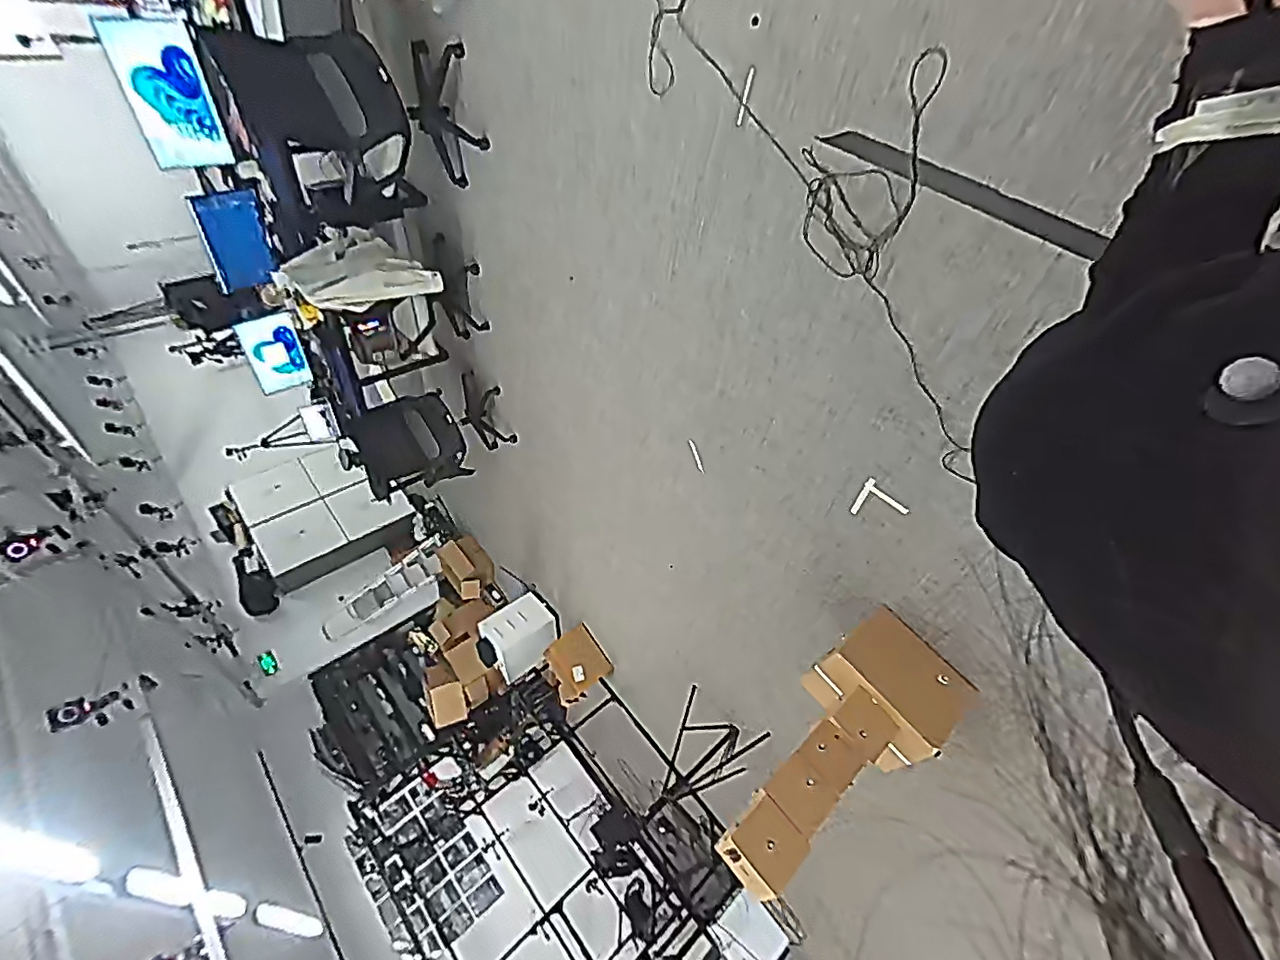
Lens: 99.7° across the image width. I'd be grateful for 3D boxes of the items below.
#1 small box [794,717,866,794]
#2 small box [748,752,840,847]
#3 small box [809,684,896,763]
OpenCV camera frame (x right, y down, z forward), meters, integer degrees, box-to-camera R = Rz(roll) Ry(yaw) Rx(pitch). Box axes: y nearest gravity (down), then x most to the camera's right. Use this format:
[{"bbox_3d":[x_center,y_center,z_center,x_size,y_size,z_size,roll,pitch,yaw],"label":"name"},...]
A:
[{"bbox_3d":[0.588,0.895,1.717,0.168,0.176,0.179,39,143,32],"label":"small box"},{"bbox_3d":[0.462,0.957,1.633,0.179,0.176,0.168,43,145,27],"label":"small box"},{"bbox_3d":[0.707,0.813,1.793,0.179,0.176,0.168,49,146,19],"label":"small box"}]
